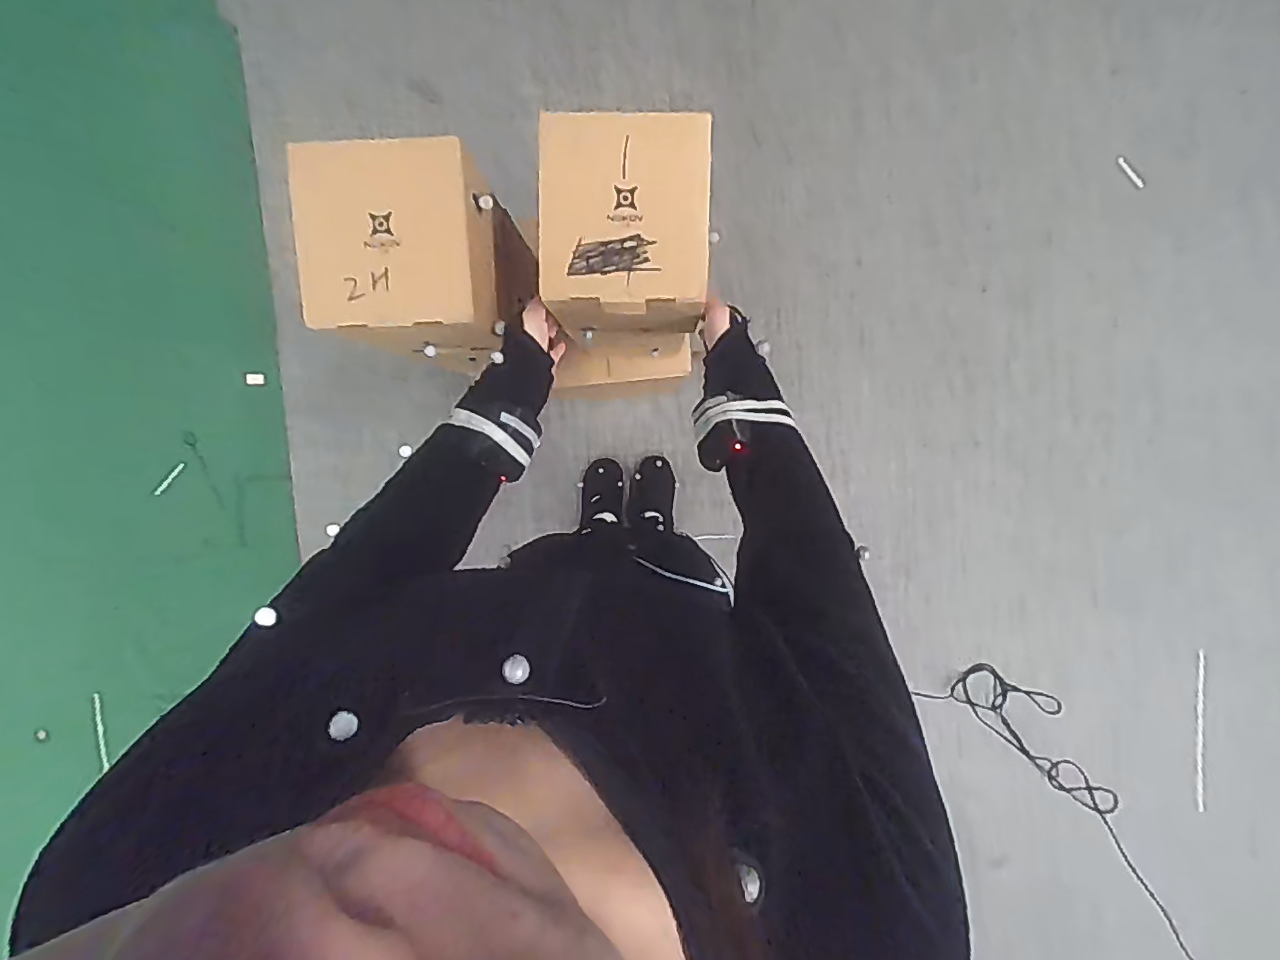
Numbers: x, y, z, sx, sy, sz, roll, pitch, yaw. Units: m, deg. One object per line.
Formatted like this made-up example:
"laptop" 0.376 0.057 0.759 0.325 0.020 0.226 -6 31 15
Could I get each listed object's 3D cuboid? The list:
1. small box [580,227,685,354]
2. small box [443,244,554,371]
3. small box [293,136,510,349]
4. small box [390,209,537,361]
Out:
"small box" -0.009 -0.312 0.922 0.168 0.176 0.179 0 95 2
"small box" -0.245 -0.287 0.929 0.168 0.176 0.179 -3 97 0
"small box" -0.247 -0.248 0.602 0.168 0.176 0.179 -2 97 0
"small box" -0.244 -0.263 0.766 0.168 0.176 0.179 -2 97 0
